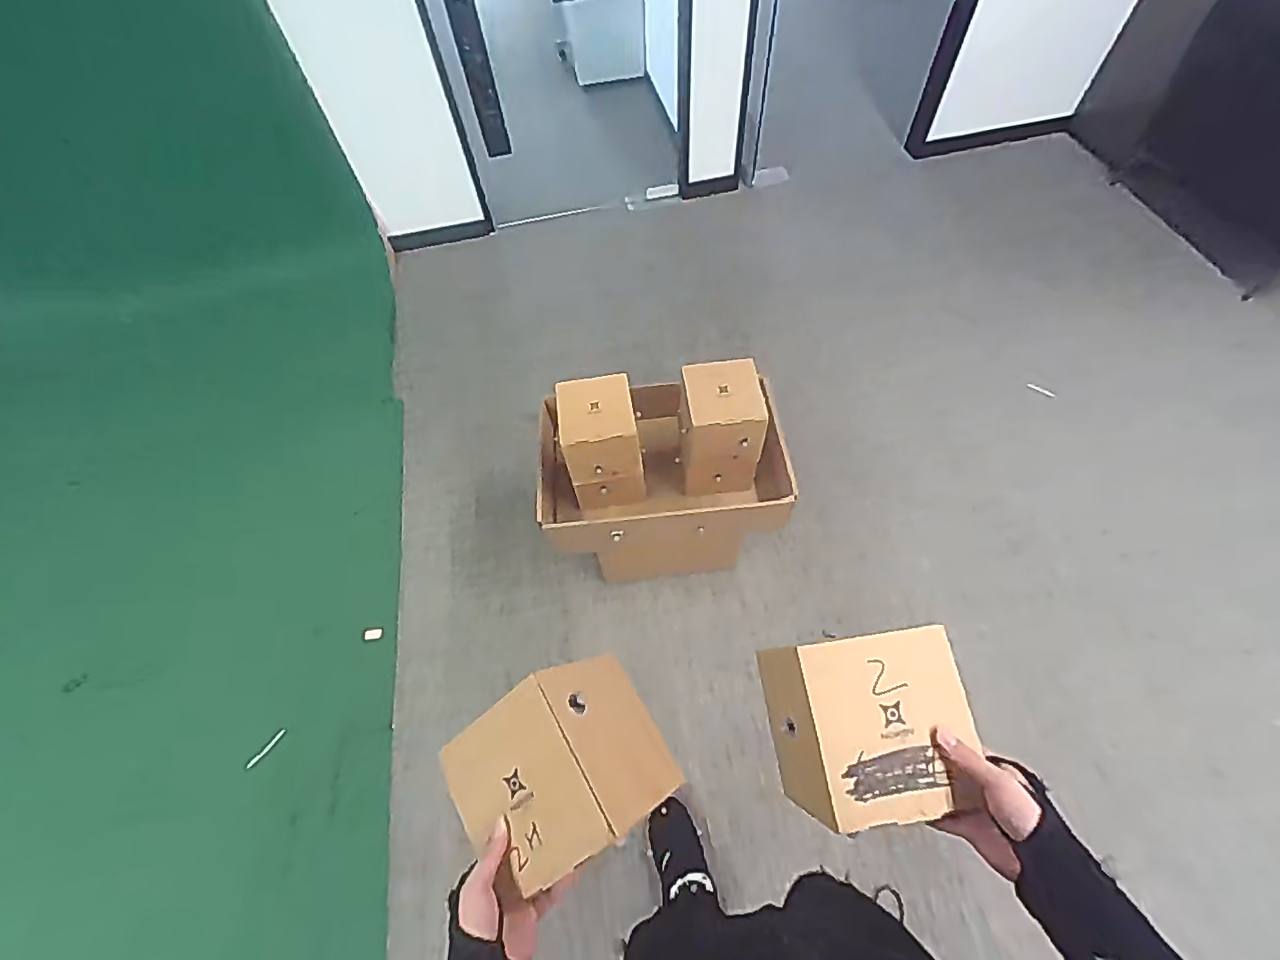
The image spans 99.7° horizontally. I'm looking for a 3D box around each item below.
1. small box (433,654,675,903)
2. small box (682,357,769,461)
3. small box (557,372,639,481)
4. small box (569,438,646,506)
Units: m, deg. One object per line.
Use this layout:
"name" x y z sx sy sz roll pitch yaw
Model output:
"small box" -0.091 0.314 0.611 0.168 0.176 0.179 -41 65 16
"small box" 0.188 -0.154 1.239 0.168 0.176 0.179 -5 58 -1
"small box" -0.094 -0.120 1.237 0.168 0.176 0.179 -8 59 -2
"small box" -0.084 -0.047 1.381 0.179 0.176 0.168 -8 59 -1
